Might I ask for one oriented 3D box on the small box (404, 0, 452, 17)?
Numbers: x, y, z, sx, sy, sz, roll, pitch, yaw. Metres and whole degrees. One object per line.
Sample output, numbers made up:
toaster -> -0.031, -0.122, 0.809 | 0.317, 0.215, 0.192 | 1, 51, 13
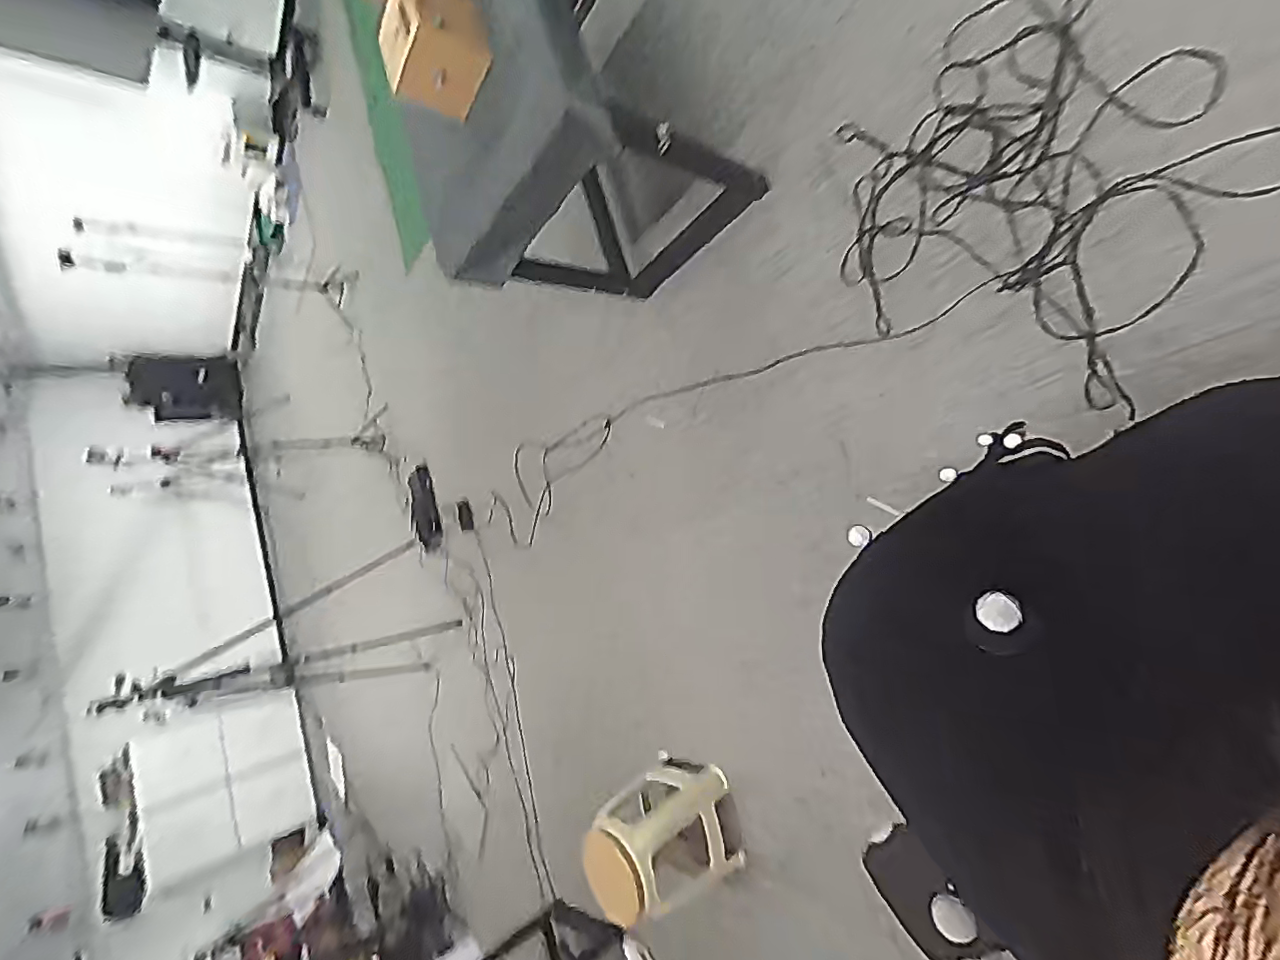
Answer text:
small box -> -0.513, -1.244, 1.248 | 0.179, 0.176, 0.168 | -19, 81, 49
